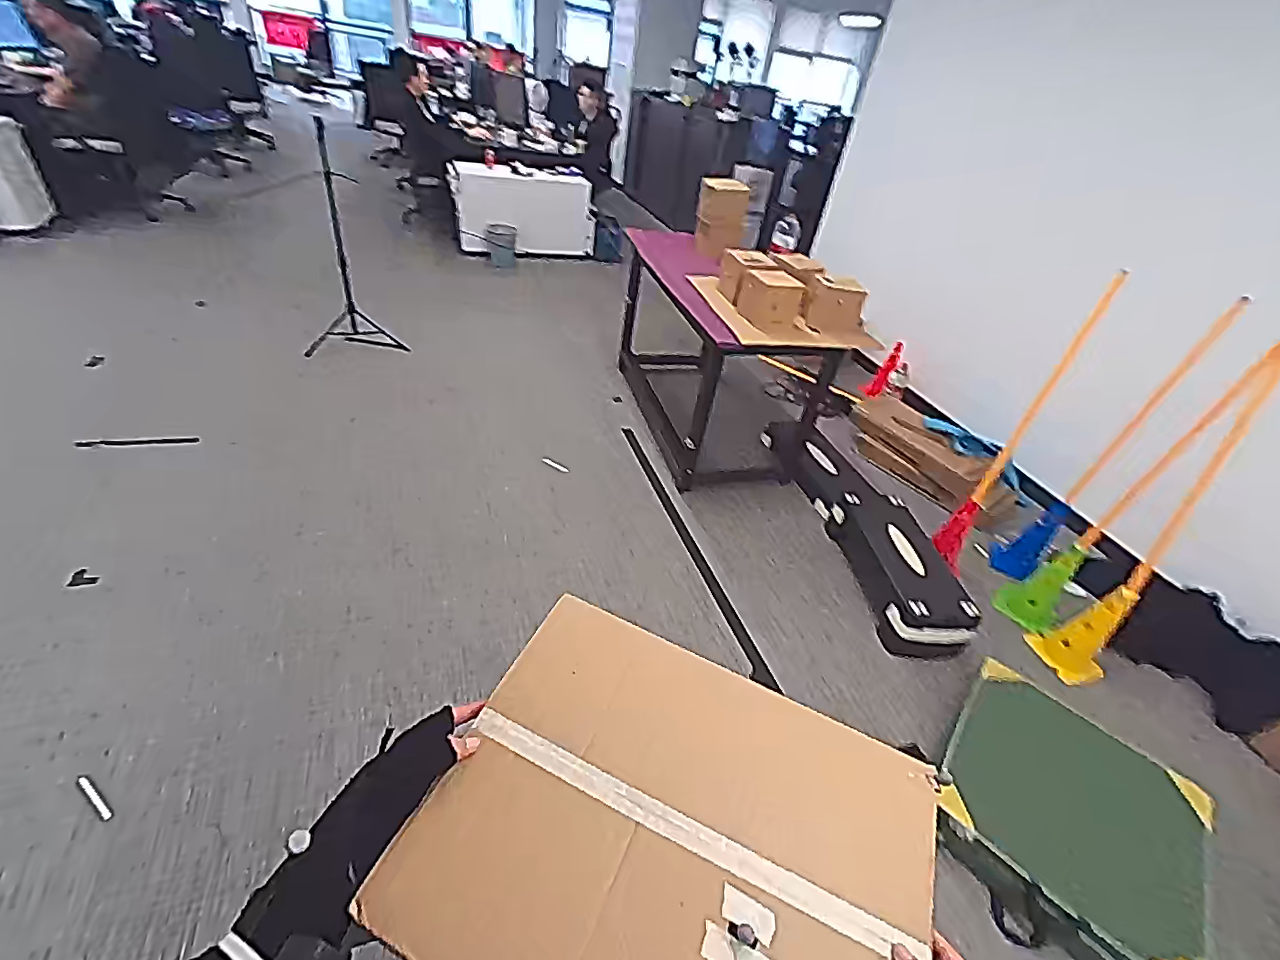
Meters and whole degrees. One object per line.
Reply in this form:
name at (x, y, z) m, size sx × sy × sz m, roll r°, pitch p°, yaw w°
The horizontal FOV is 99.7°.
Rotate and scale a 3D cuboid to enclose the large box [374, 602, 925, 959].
large box at (0.018, 0.402, 0.565) m, size 0.408 × 0.320 × 0.320 m, roll 22°, pitch 45°, yaw 12°
